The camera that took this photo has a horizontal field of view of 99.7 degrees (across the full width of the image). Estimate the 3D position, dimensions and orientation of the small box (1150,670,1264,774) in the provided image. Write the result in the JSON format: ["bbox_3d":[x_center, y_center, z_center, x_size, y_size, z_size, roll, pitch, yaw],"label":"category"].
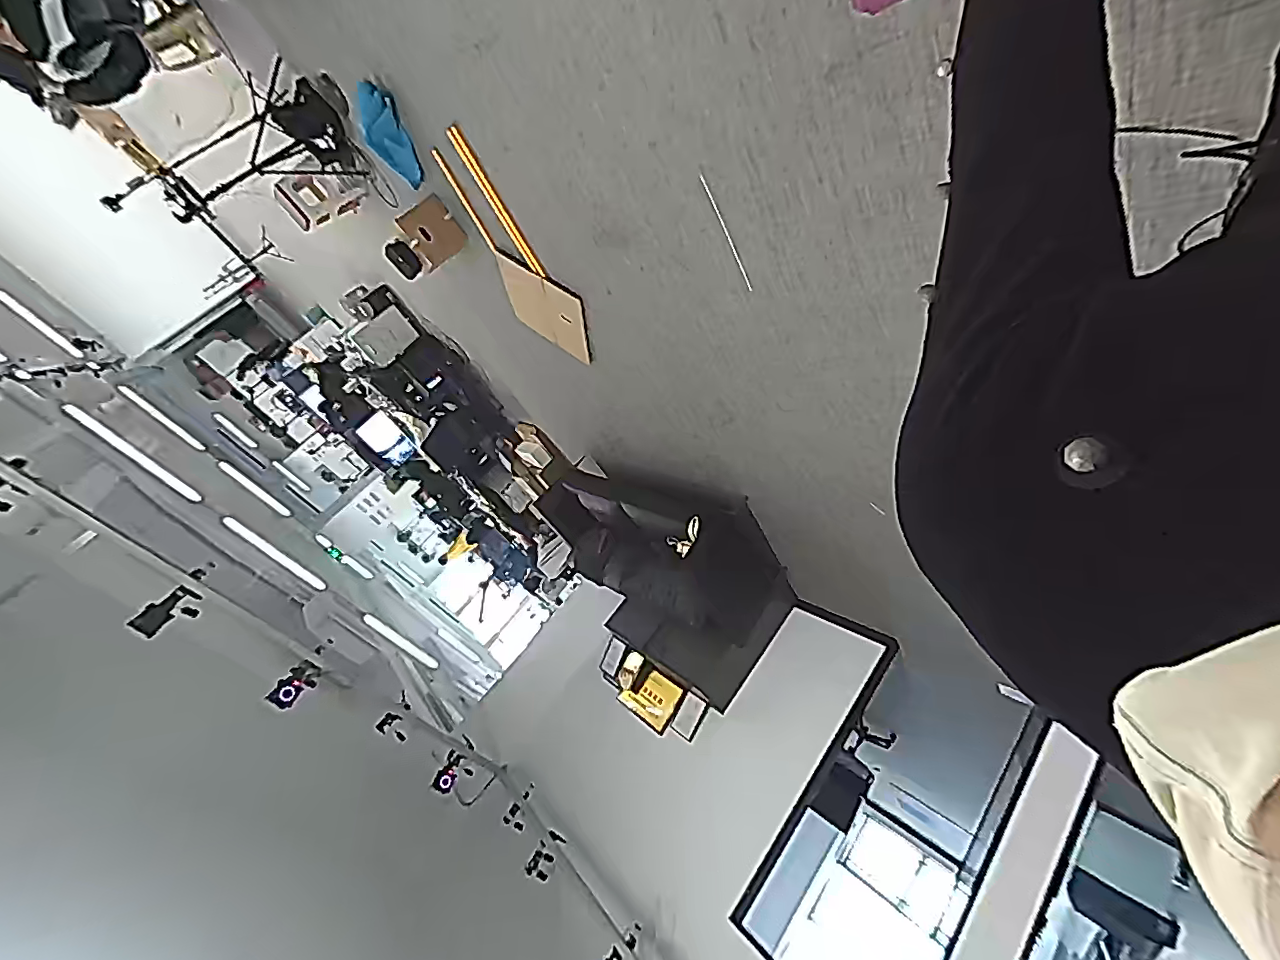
[{"bbox_3d":[1.525,0.646,1.456,0.168,0.176,0.179,23,154,44],"label":"small box"}]
